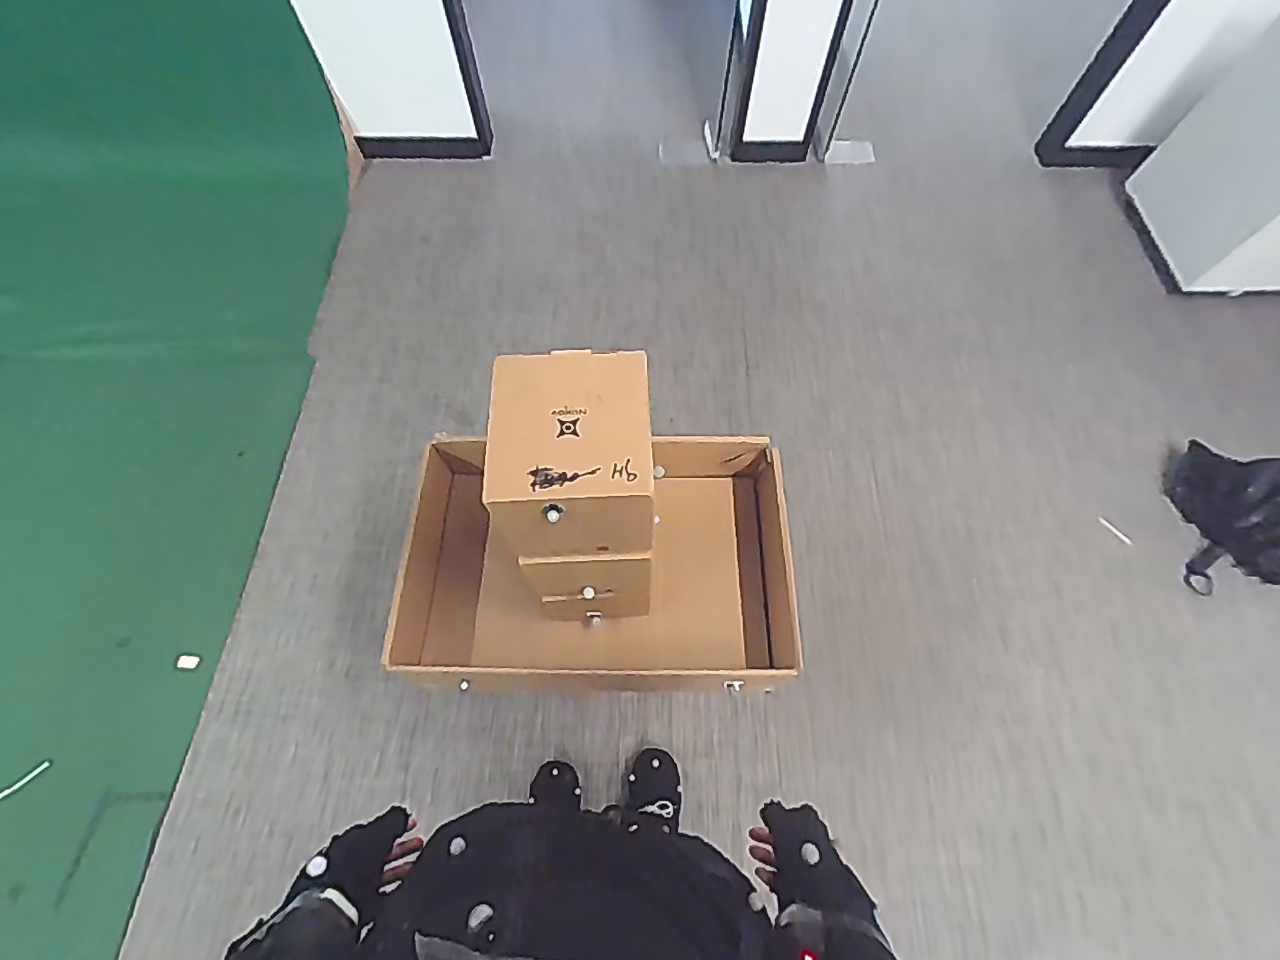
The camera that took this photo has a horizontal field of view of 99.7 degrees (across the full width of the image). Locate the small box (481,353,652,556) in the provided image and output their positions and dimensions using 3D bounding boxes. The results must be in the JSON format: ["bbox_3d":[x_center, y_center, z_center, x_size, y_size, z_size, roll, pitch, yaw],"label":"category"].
[{"bbox_3d":[-0.072,-0.024,0.626,0.168,0.176,0.179,-3,63,0],"label":"small box"}]

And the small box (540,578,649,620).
[{"bbox_3d":[-0.073,0.130,0.915,0.168,0.176,0.179,-4,65,-1],"label":"small box"}]

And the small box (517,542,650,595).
[{"bbox_3d":[-0.072,0.056,0.769,0.168,0.176,0.179,-2,65,0],"label":"small box"}]
